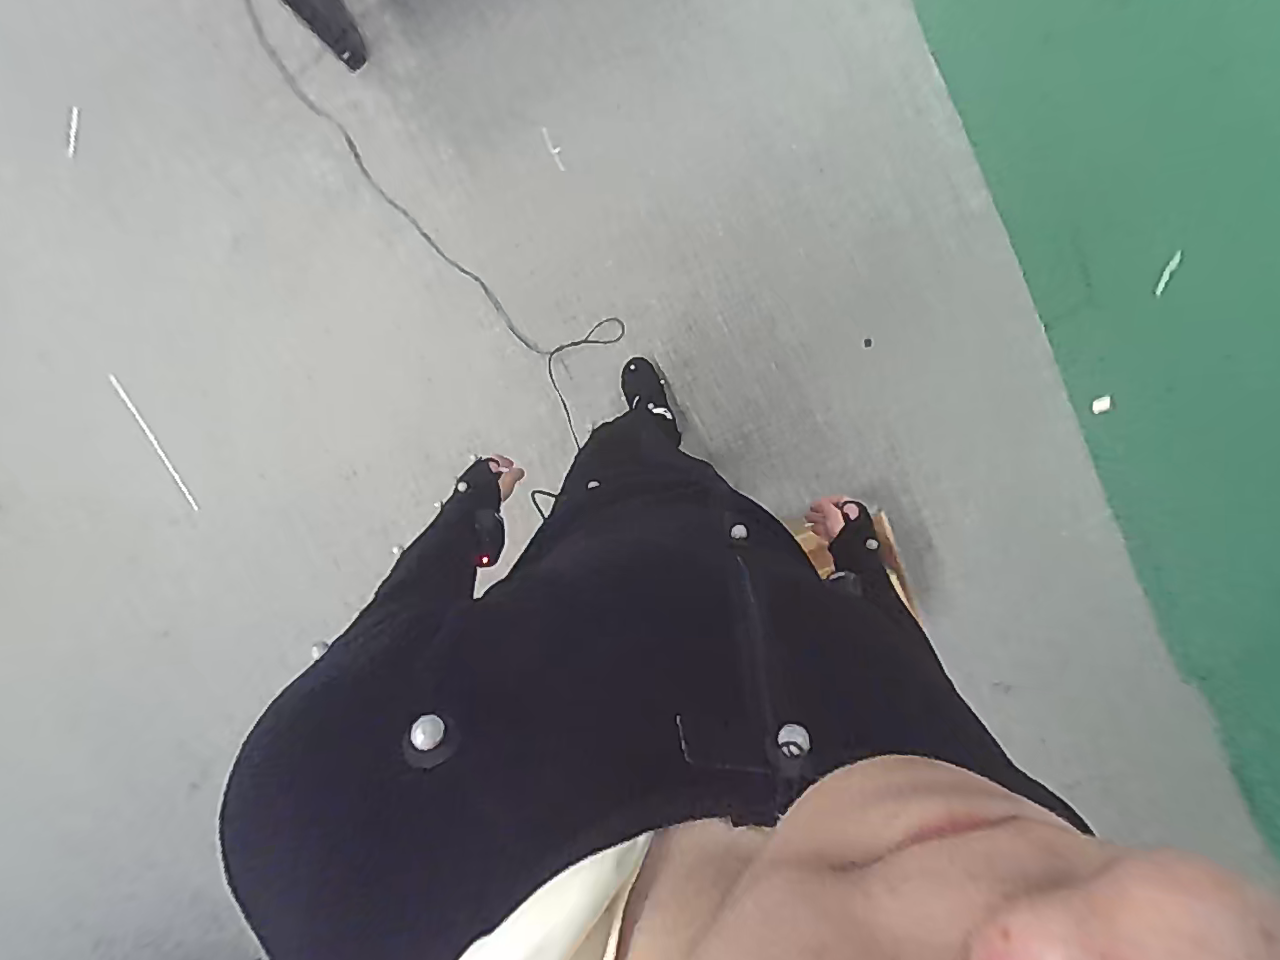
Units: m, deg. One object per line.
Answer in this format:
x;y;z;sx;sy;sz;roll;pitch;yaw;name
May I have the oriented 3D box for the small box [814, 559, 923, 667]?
0.556;0.321;1.333;0.168;0.176;0.179;-24;98;5;small box
